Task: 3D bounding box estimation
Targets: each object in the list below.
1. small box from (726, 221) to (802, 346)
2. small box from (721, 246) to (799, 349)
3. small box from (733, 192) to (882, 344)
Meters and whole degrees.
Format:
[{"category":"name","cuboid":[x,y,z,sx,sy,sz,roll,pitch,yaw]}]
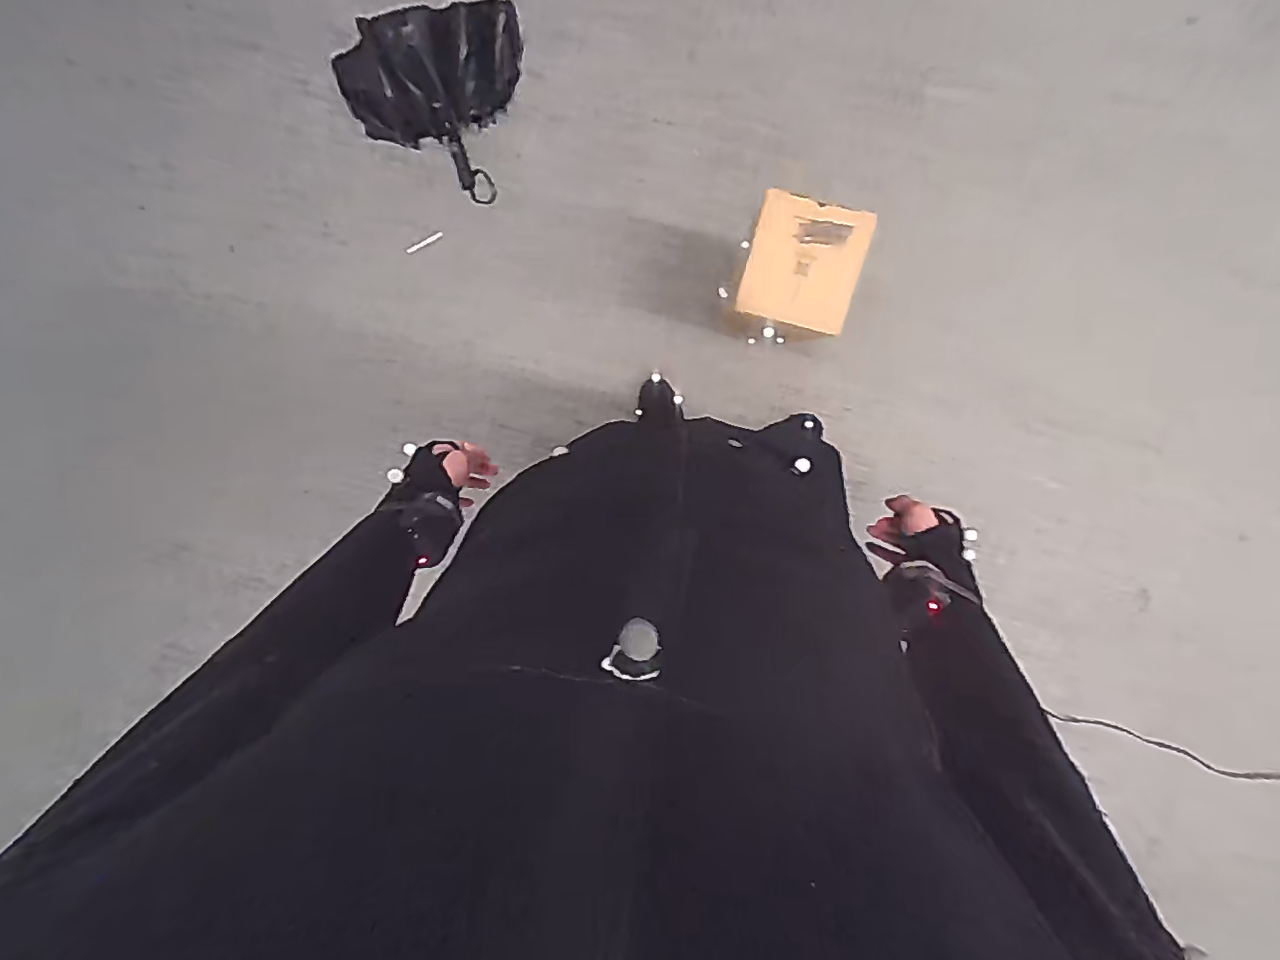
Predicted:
[{"category":"small box","cuboid":[0.266,-0.362,1.030,0.168,0.176,0.179,15,100,2]},{"category":"small box","cuboid":[0.279,-0.391,1.189,0.168,0.176,0.179,14,102,2]},{"category":"small box","cuboid":[0.253,-0.328,0.870,0.168,0.176,0.179,16,103,2]}]
